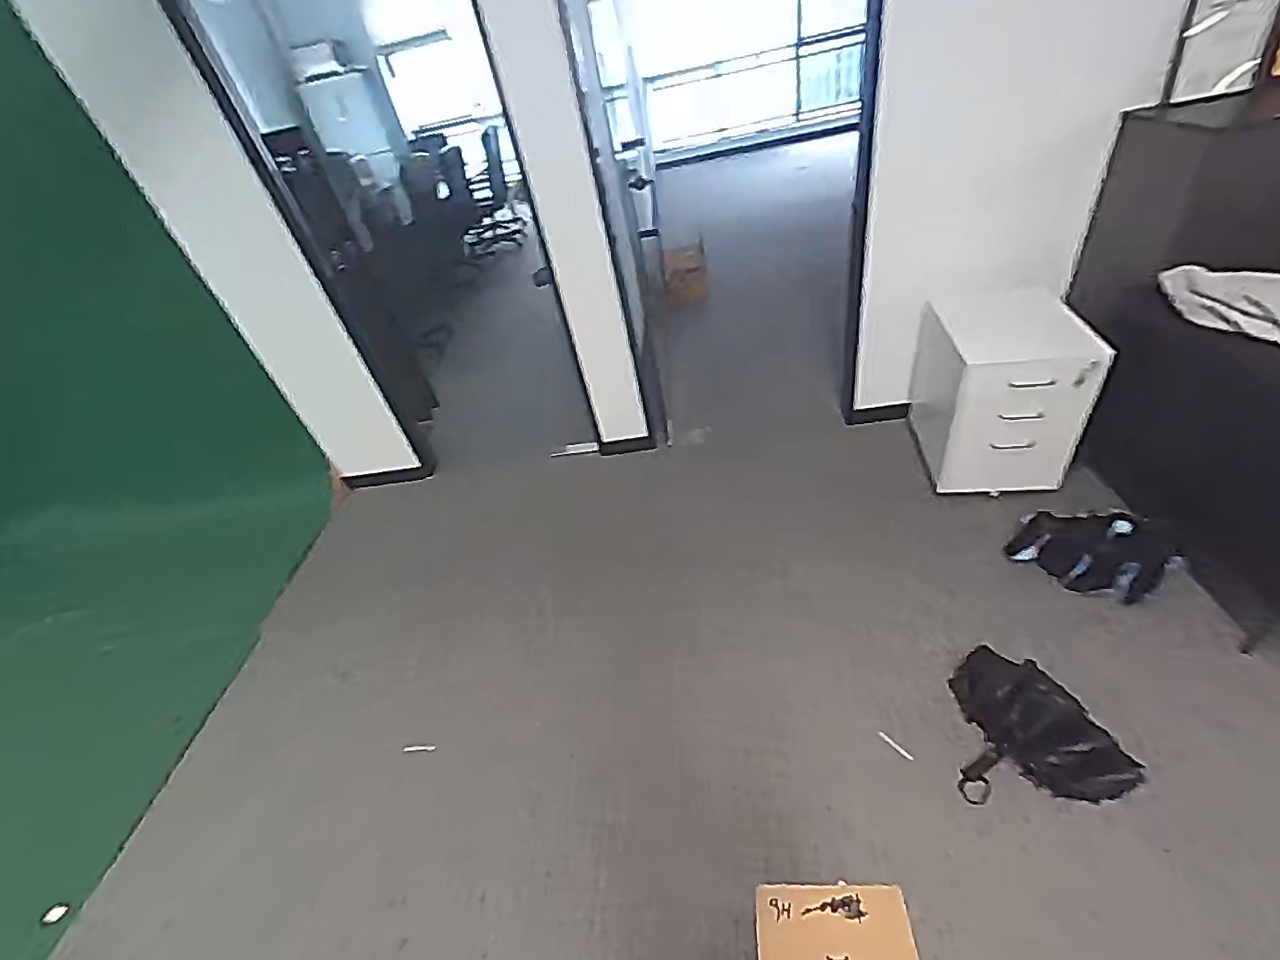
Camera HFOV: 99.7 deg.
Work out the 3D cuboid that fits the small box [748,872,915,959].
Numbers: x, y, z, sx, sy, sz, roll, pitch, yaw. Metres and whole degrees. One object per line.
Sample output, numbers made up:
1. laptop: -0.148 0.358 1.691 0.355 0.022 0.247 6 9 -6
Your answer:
1. small box: 0.216 0.562 0.584 0.168 0.176 0.179 -9 29 13
